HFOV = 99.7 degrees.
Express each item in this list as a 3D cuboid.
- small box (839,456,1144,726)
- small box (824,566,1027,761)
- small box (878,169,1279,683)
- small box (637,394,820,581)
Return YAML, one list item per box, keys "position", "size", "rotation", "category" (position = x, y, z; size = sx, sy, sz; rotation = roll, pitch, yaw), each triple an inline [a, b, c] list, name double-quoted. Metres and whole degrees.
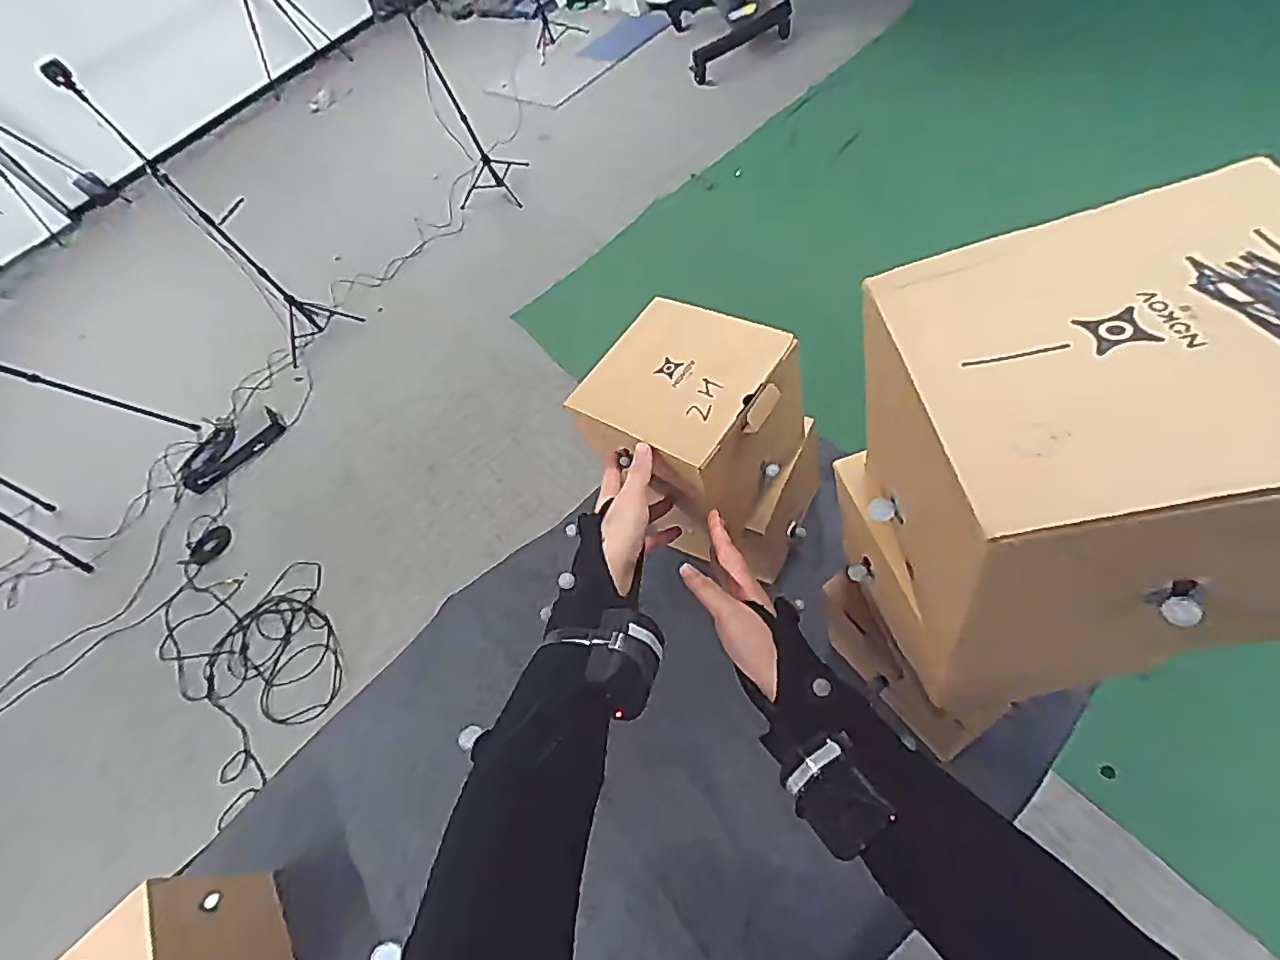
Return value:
- position: [0.275, 0.069, 0.414]
  size: [0.179, 0.176, 0.168]
  rotation: [-21, 50, 9]
  category: "small box"
- position: [0.317, 0.152, 0.548]
  size: [0.179, 0.176, 0.168]
  rotation: [-37, 49, -4]
  category: "small box"
- position: [0.231, -0.009, 0.272]
  size: [0.179, 0.176, 0.168]
  rotation: [-13, 51, 15]
  category: "small box"
- position: [0.127, 0.014, 0.719]
  size: [0.179, 0.176, 0.168]
  rotation: [18, 68, 27]
  category: "small box"
